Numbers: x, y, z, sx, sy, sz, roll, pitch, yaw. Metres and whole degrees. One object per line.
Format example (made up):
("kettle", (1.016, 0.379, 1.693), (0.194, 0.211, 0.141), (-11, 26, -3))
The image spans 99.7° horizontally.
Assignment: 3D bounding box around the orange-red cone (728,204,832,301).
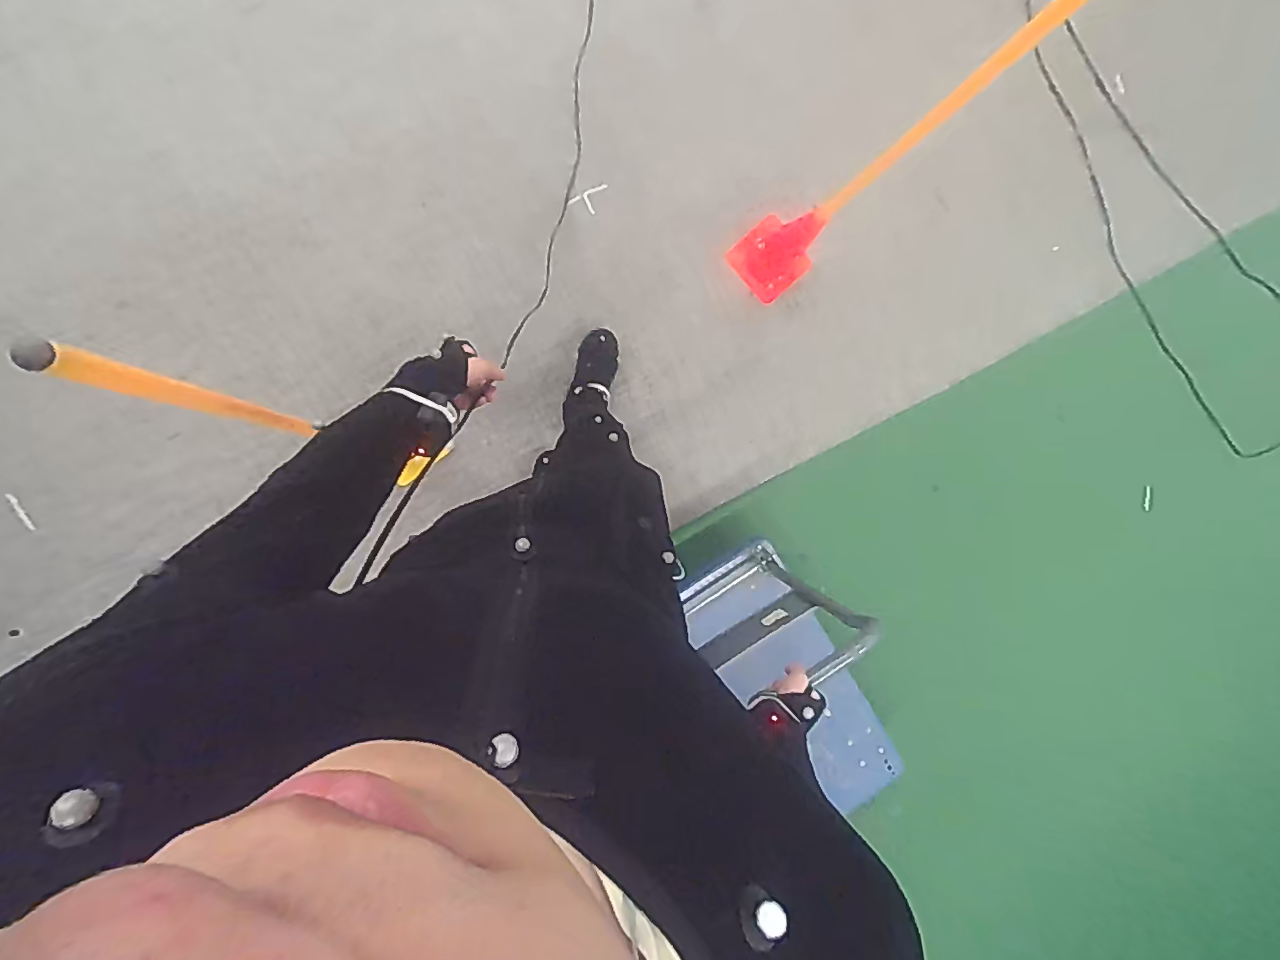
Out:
("orange-red cone", (0.409, -0.647, 1.441), (0.199, 0.360, 0.198), (-42, 100, -3))
